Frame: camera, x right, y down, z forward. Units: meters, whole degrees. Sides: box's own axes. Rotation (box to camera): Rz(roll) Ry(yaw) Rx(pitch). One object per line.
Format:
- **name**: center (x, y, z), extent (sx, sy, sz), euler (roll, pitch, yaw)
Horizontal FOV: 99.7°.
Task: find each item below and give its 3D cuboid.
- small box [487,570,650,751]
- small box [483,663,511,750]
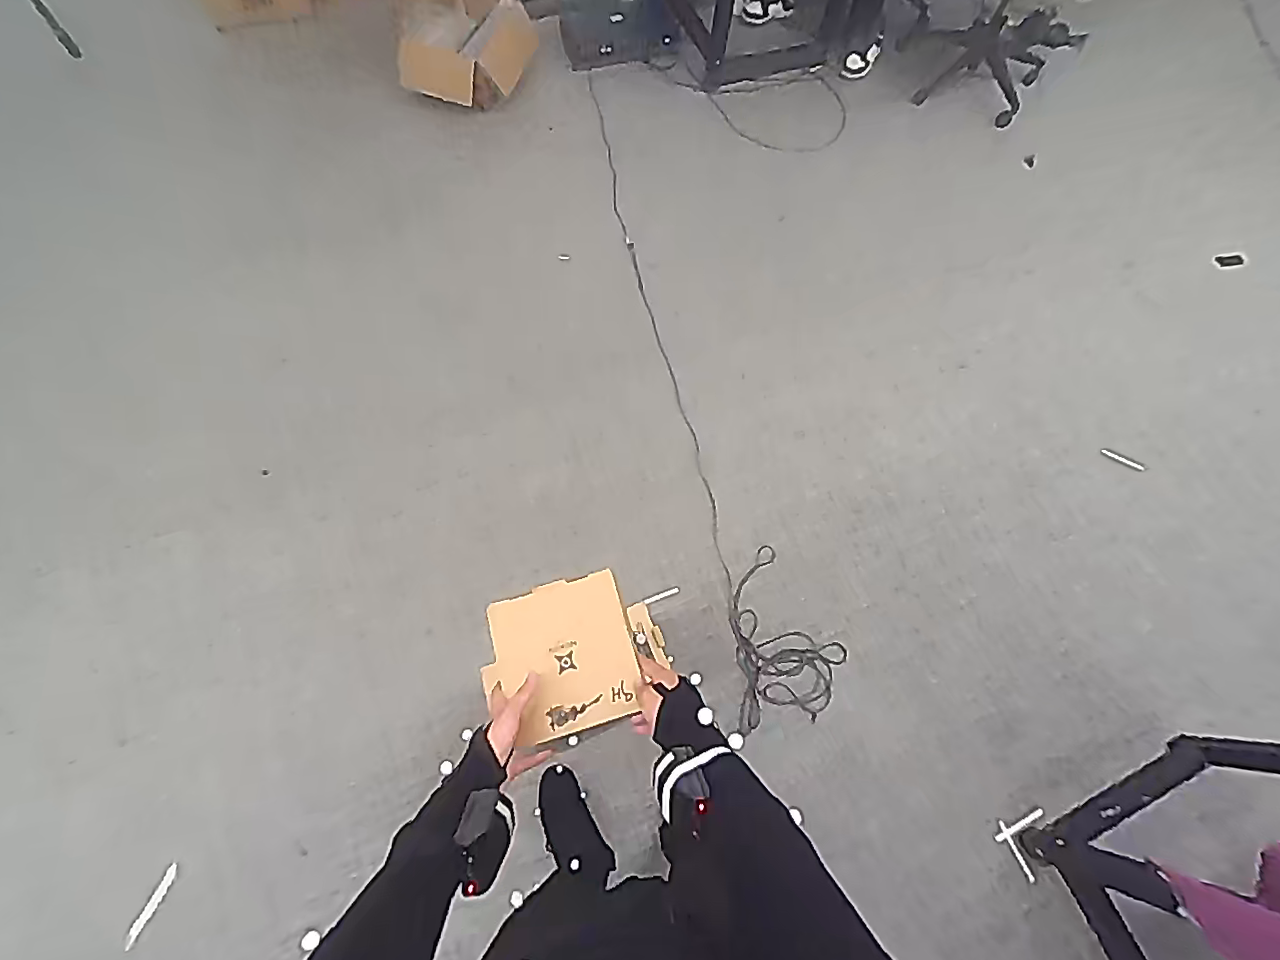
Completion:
- **small box**: center (-0.088, 0.240, 0.723), extent (0.168, 0.176, 0.179), euler (-16, 70, -3)
- **small box**: center (-0.221, 0.464, 1.177), extent (0.179, 0.176, 0.168), euler (-17, 71, -7)
